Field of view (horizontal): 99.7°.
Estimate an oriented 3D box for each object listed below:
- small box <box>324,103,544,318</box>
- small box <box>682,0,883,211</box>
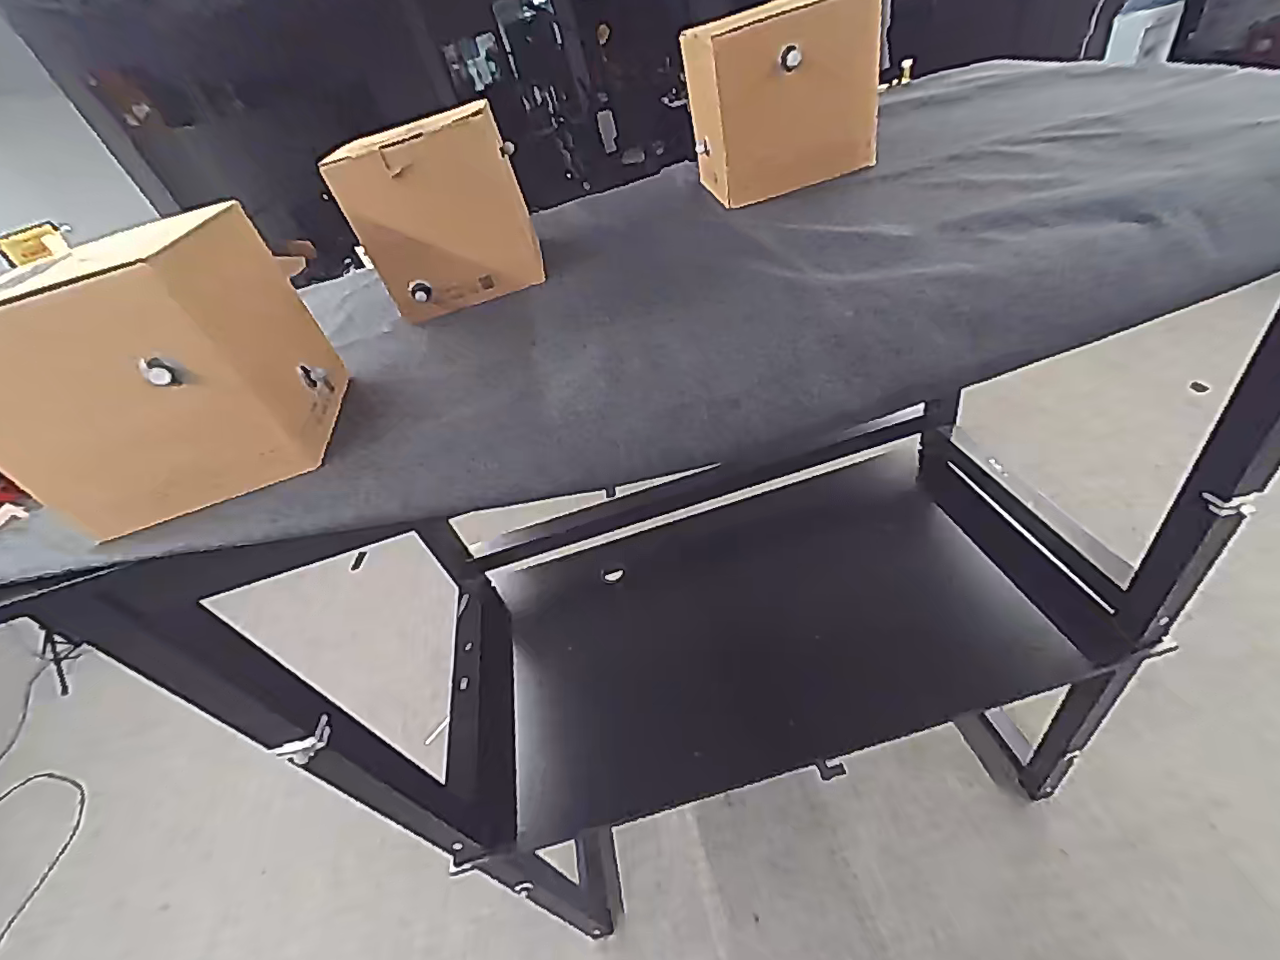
[{"bbox_3d":[-0.217,-0.306,0.624,0.168,0.176,0.179,-18,39,1],"label":"small box"},{"bbox_3d":[0.162,-0.446,0.639,0.179,0.176,0.168,-16,40,4],"label":"small box"}]
